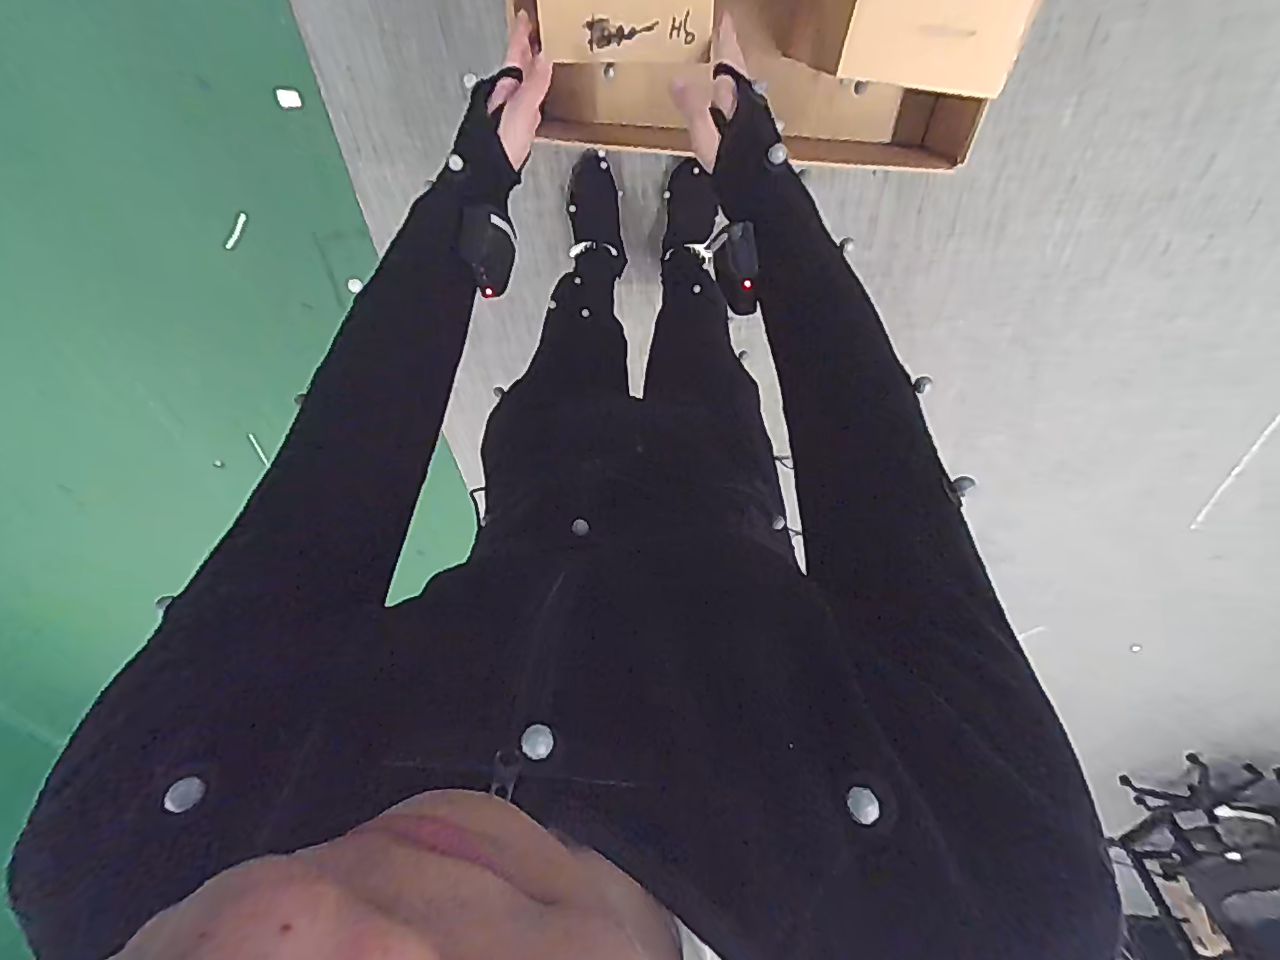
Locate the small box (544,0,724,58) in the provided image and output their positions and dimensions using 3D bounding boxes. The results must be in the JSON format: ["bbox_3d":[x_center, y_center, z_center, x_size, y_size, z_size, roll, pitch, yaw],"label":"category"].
[{"bbox_3d":[-0.003,-0.520,0.519,0.168,0.176,0.179,2,130,2],"label":"small box"}]

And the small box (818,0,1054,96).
[{"bbox_3d":[0.289,-0.497,0.525,0.168,0.176,0.179,7,130,-2],"label":"small box"}]
